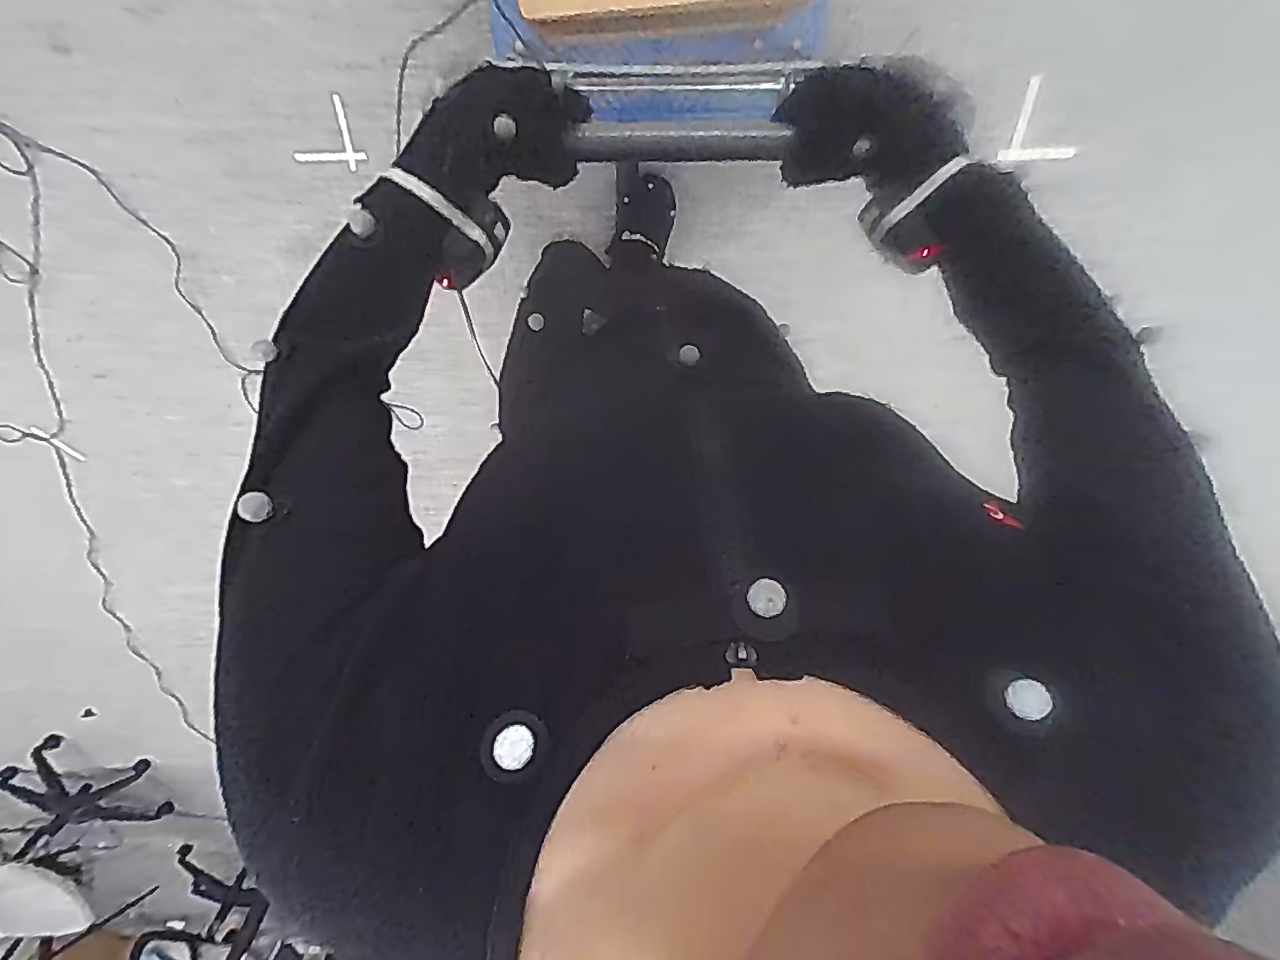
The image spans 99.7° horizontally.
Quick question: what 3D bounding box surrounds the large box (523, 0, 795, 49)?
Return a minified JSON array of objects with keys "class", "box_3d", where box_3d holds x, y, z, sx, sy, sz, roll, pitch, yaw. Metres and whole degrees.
[{"class":"large box","box_3d":[0.021,-0.832,0.749,0.408,0.320,0.320,-6,124,0]}]
